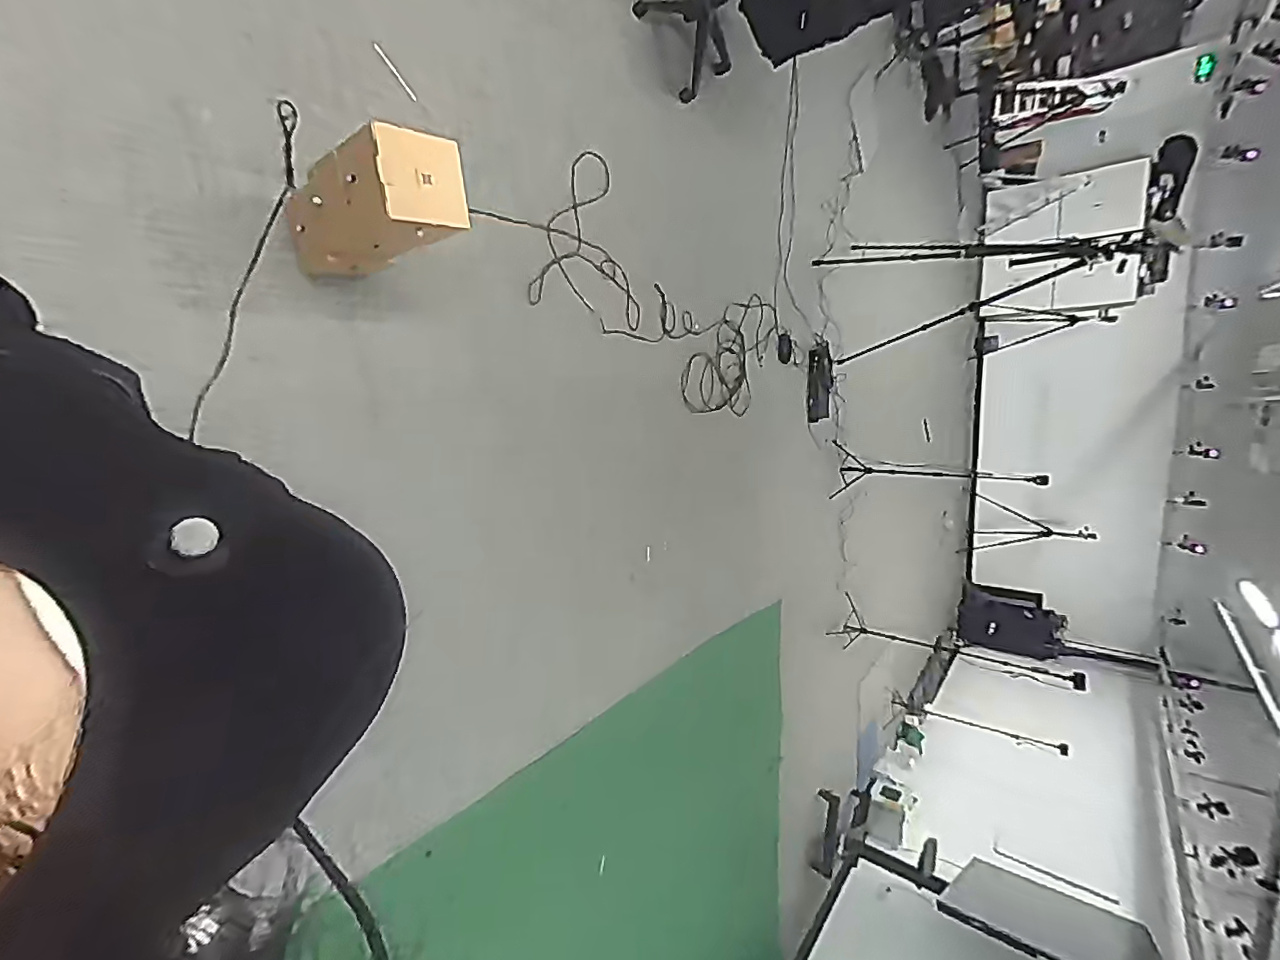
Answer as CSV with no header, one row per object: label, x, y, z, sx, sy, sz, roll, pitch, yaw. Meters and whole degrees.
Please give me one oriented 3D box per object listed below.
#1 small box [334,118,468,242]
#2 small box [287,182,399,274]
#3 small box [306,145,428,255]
small box,-0.476,-0.584,1.081,0.179,0.176,0.168,-19,108,-46
small box,-0.719,-0.594,1.299,0.179,0.176,0.168,-24,112,-47
small box,-0.598,-0.600,1.188,0.179,0.176,0.168,-18,107,-47
